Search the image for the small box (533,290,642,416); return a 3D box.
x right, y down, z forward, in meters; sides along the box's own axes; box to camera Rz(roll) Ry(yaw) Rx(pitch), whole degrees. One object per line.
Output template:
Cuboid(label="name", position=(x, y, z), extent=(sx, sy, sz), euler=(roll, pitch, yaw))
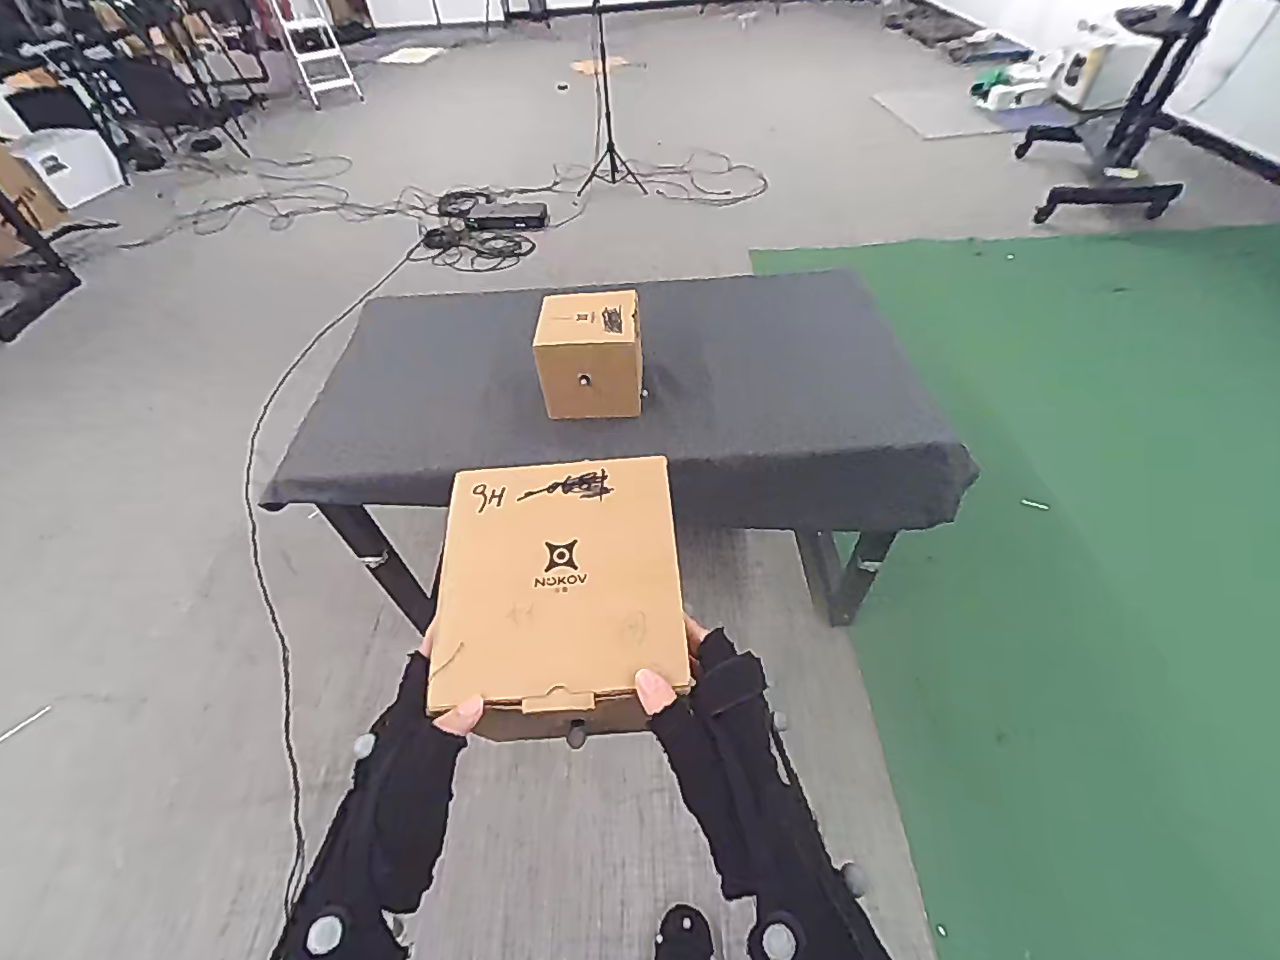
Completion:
Cuboid(label="small box", position=(-0.087, -0.234, 1.014), extent=(0.179, 0.176, 0.168), euler=(-2, 49, 4))

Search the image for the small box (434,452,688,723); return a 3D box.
Cuboid(label="small box", position=(-0.052, 0.098, 0.447), extent=(0.168, 0.176, 0.179), euler=(-4, 59, -1))
